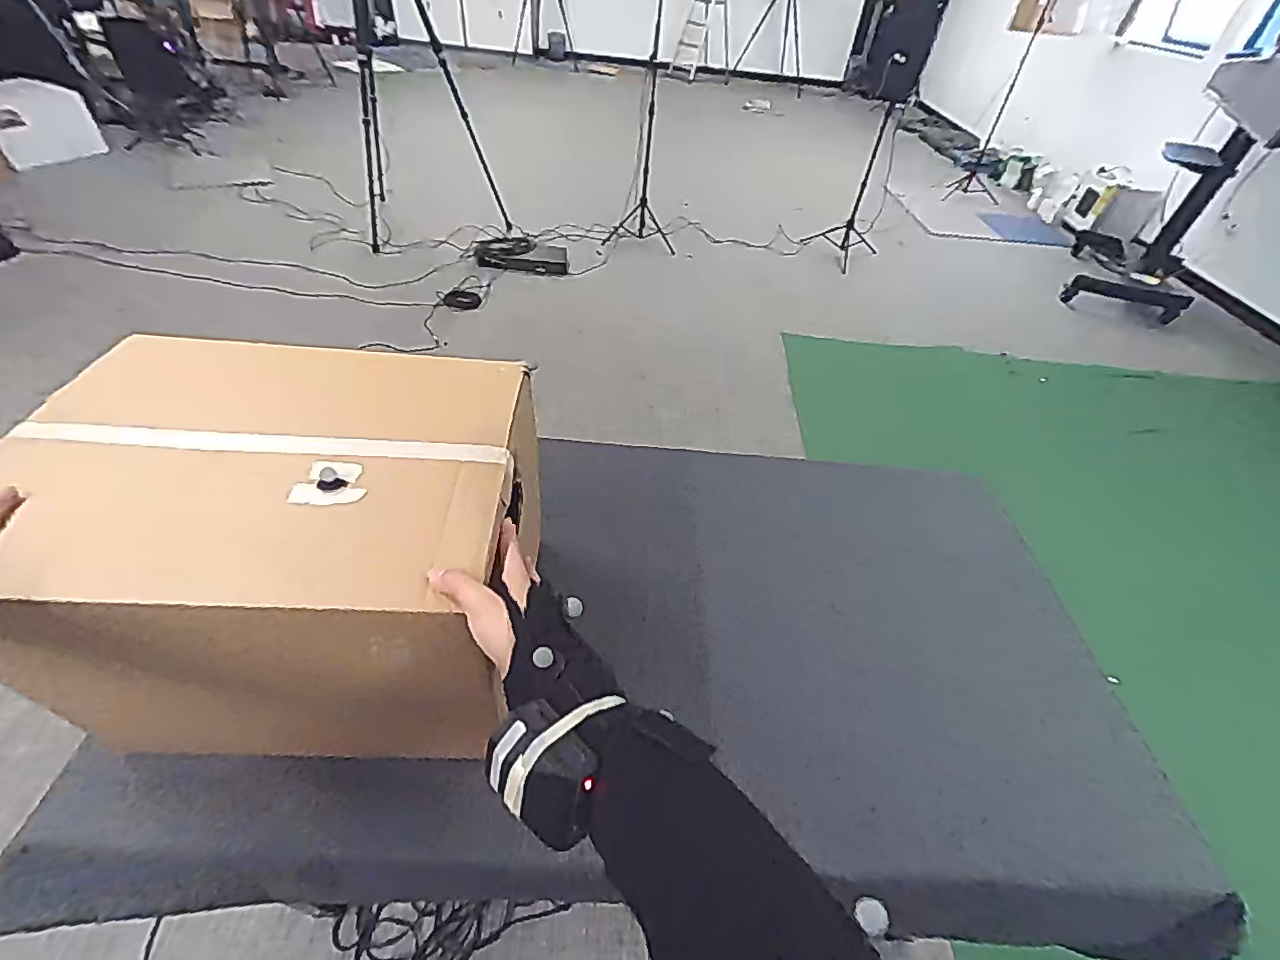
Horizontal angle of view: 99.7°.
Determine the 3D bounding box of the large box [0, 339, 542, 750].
[{"bbox_3d":[-0.323,0.075,0.580,0.408,0.320,0.320,4,46,-6],"label":"large box"}]
